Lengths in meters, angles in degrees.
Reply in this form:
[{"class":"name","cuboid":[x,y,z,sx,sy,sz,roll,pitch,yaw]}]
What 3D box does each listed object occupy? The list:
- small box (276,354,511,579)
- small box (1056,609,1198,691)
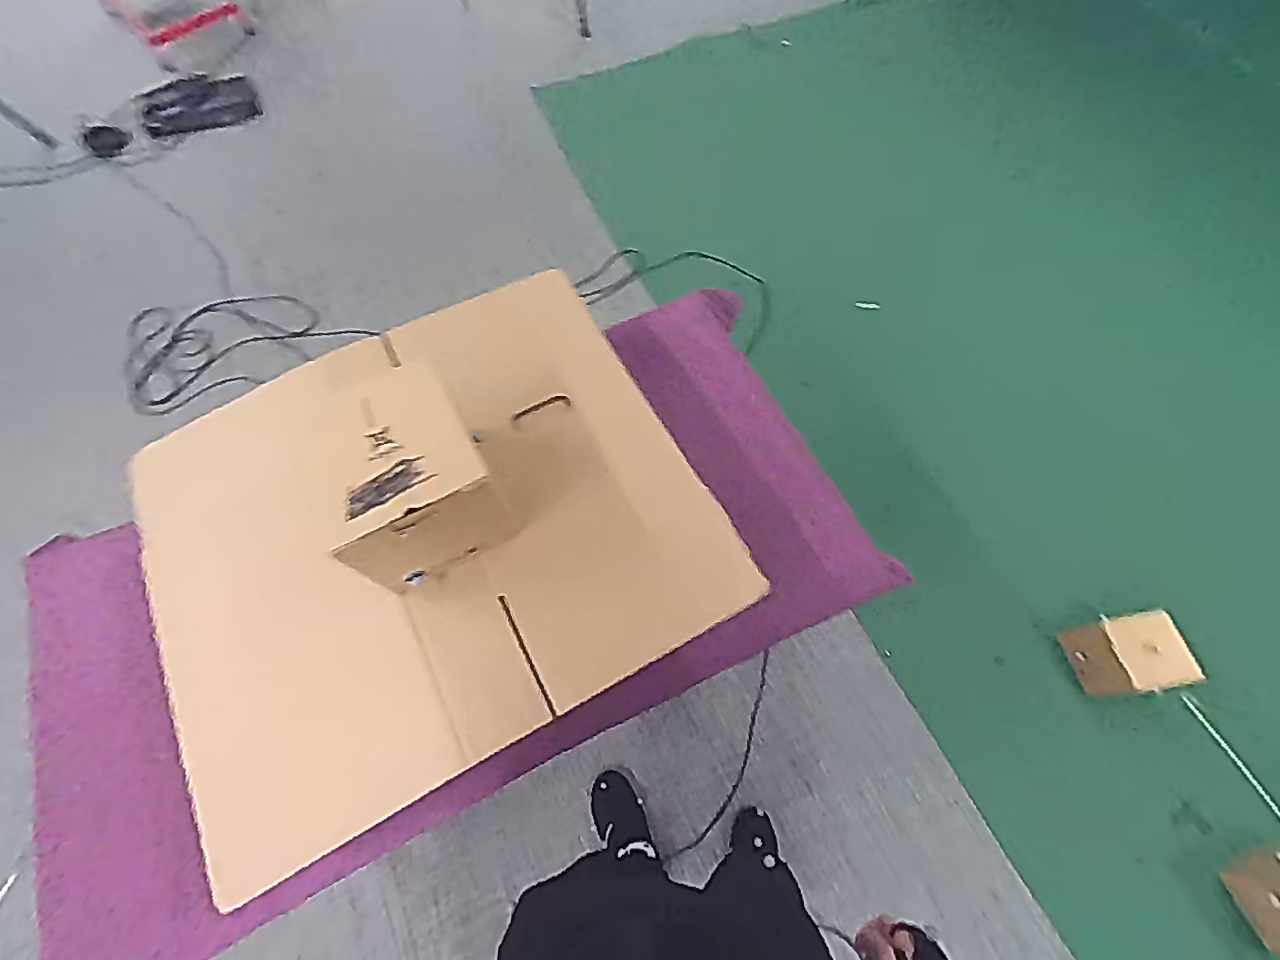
[{"class":"small box","cuboid":[-0.265,-0.003,0.618,0.168,0.176,0.179,-27,68,-13]},{"class":"small box","cuboid":[1.241,0.442,1.394,0.179,0.176,0.168,-11,66,-3]}]
